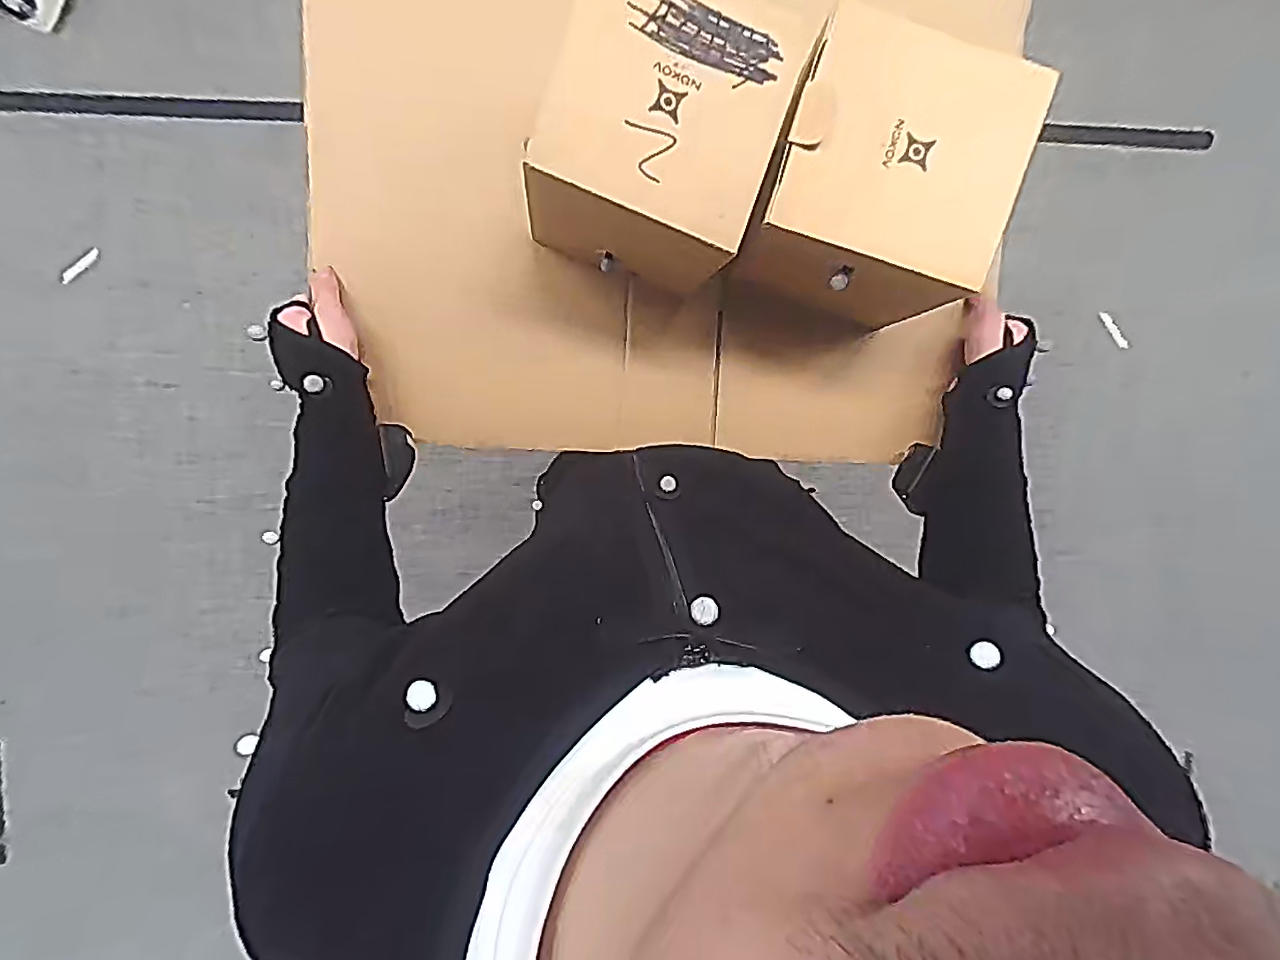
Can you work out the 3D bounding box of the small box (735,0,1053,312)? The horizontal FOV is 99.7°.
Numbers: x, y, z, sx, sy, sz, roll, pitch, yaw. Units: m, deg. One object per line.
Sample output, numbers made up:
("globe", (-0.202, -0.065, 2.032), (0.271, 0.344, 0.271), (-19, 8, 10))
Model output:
("small box", (0.203, -0.263, 0.488), (0.179, 0.176, 0.168), (17, 97, -2))
